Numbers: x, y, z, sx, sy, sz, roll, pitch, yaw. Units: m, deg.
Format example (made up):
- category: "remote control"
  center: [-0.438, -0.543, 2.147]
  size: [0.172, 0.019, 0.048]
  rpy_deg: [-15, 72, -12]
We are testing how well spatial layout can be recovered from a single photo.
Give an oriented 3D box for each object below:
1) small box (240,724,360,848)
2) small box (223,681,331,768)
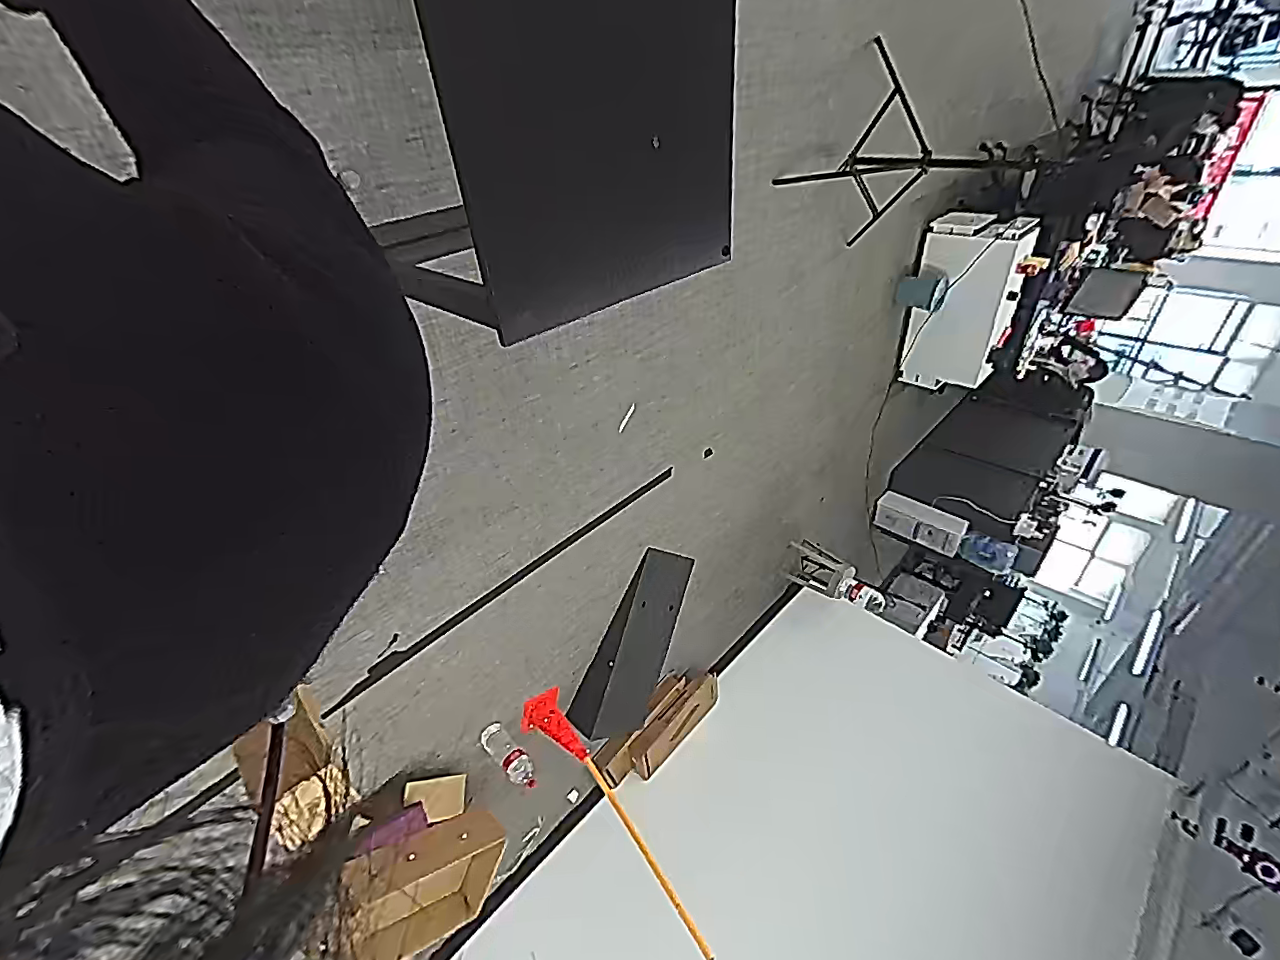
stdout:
- category: "small box"
  center: [-0.817, 0.723, 1.298]
  size: [0.168, 0.176, 0.179]
  rpy_deg: [-33, 135, -32]
- category: "small box"
  center: [-0.931, 0.661, 1.397]
  size: [0.168, 0.176, 0.179]
  rpy_deg: [-34, 133, -33]
